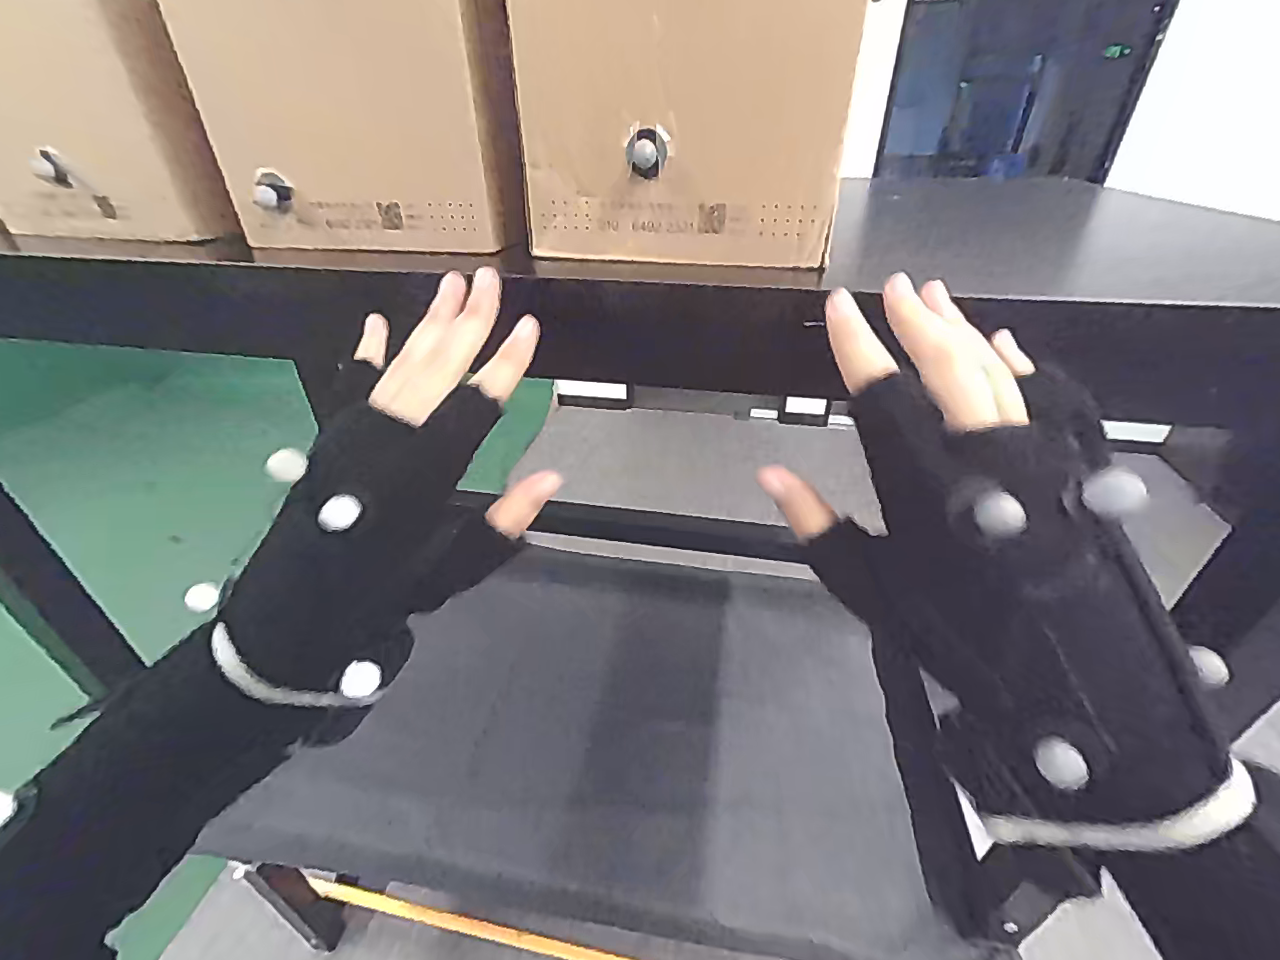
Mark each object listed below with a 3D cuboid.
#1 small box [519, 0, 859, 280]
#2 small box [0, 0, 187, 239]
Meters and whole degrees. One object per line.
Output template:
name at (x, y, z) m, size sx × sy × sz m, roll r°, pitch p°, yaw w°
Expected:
small box at (0.033, -0.233, 0.334) m, size 0.168 × 0.176 × 0.179 m, roll 6°, pitch 34°, yaw 11°
small box at (-0.542, -0.303, 0.447) m, size 0.168 × 0.176 × 0.179 m, roll 7°, pitch 34°, yaw 9°
